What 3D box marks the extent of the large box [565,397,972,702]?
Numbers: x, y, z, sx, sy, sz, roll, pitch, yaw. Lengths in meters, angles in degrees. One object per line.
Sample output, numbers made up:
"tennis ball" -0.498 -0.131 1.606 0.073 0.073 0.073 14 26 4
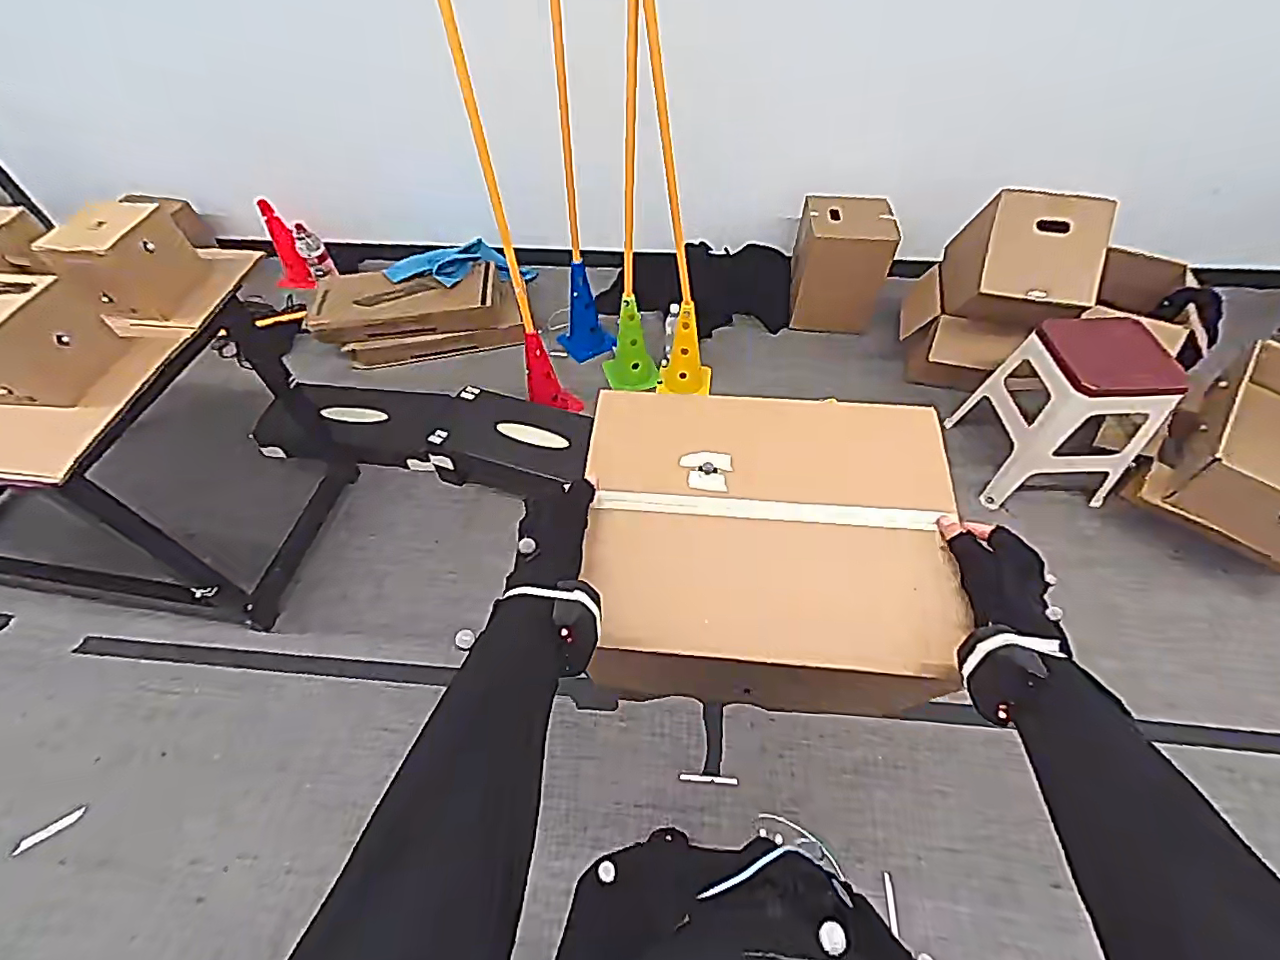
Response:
"large box" 0.145 0.107 0.730 0.408 0.320 0.320 4 61 6
